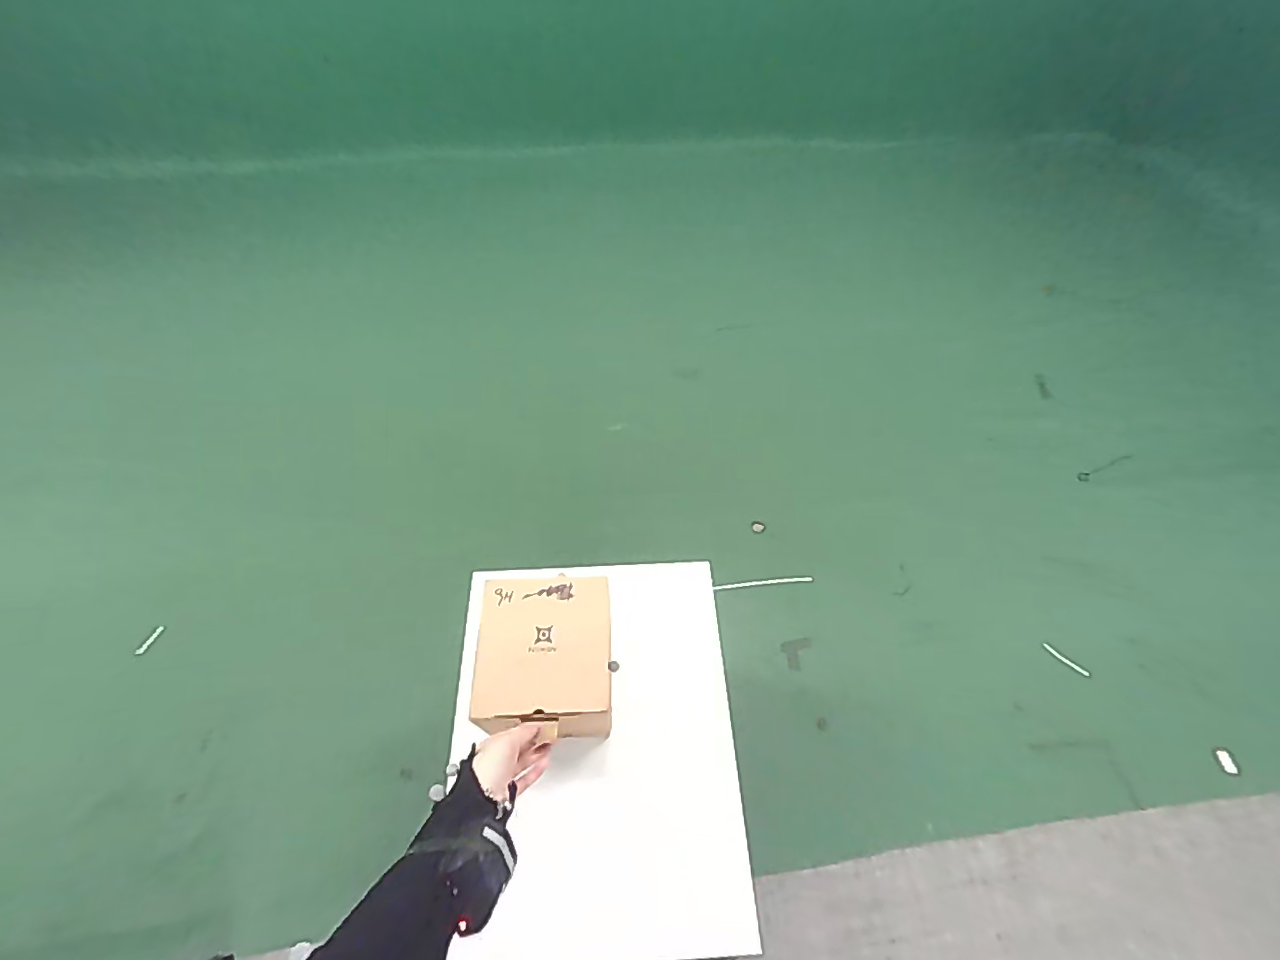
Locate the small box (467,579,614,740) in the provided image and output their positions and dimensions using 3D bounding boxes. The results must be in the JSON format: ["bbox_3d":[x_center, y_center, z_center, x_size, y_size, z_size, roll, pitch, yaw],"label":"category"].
[{"bbox_3d":[-0.120,0.247,0.728,0.168,0.176,0.179,-1,57,-2],"label":"small box"}]
